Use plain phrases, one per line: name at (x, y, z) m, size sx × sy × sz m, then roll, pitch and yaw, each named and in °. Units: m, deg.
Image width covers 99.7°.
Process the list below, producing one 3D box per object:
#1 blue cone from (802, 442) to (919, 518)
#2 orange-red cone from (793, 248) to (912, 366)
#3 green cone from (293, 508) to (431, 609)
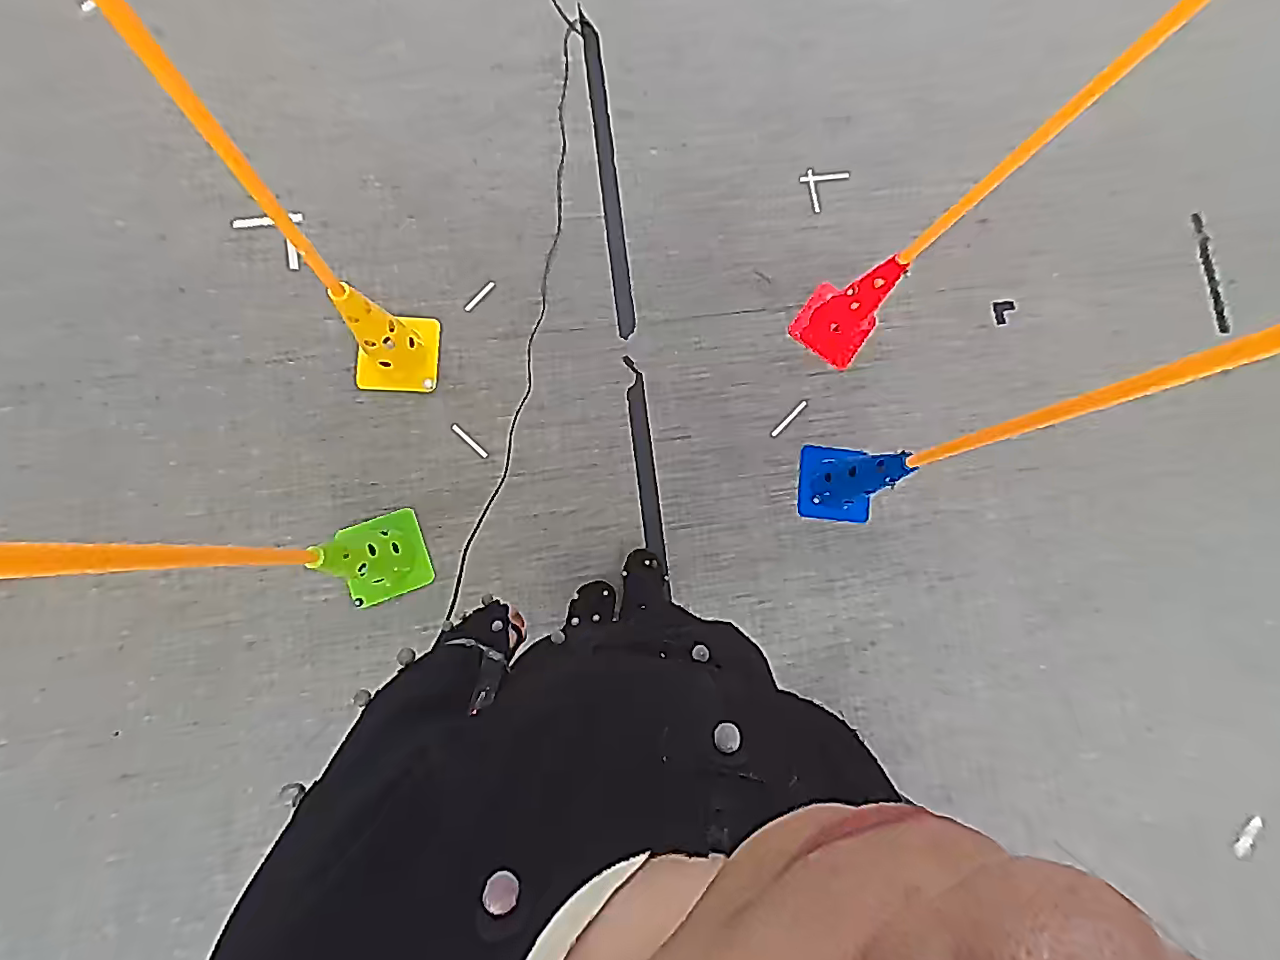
blue cone at (0.545, -0.023, 1.299) m, size 0.193 × 0.380 × 0.192 m, roll 8°, pitch 80°, yaw -4°
orange-red cone at (0.565, -0.463, 1.350) m, size 0.198 × 0.360 × 0.199 m, roll 38°, pitch 81°, yaw 2°
green cone at (-0.612, 0.162, 1.145) m, size 0.200 × 0.368 × 0.202 m, roll -21°, pitch 83°, yaw -8°
